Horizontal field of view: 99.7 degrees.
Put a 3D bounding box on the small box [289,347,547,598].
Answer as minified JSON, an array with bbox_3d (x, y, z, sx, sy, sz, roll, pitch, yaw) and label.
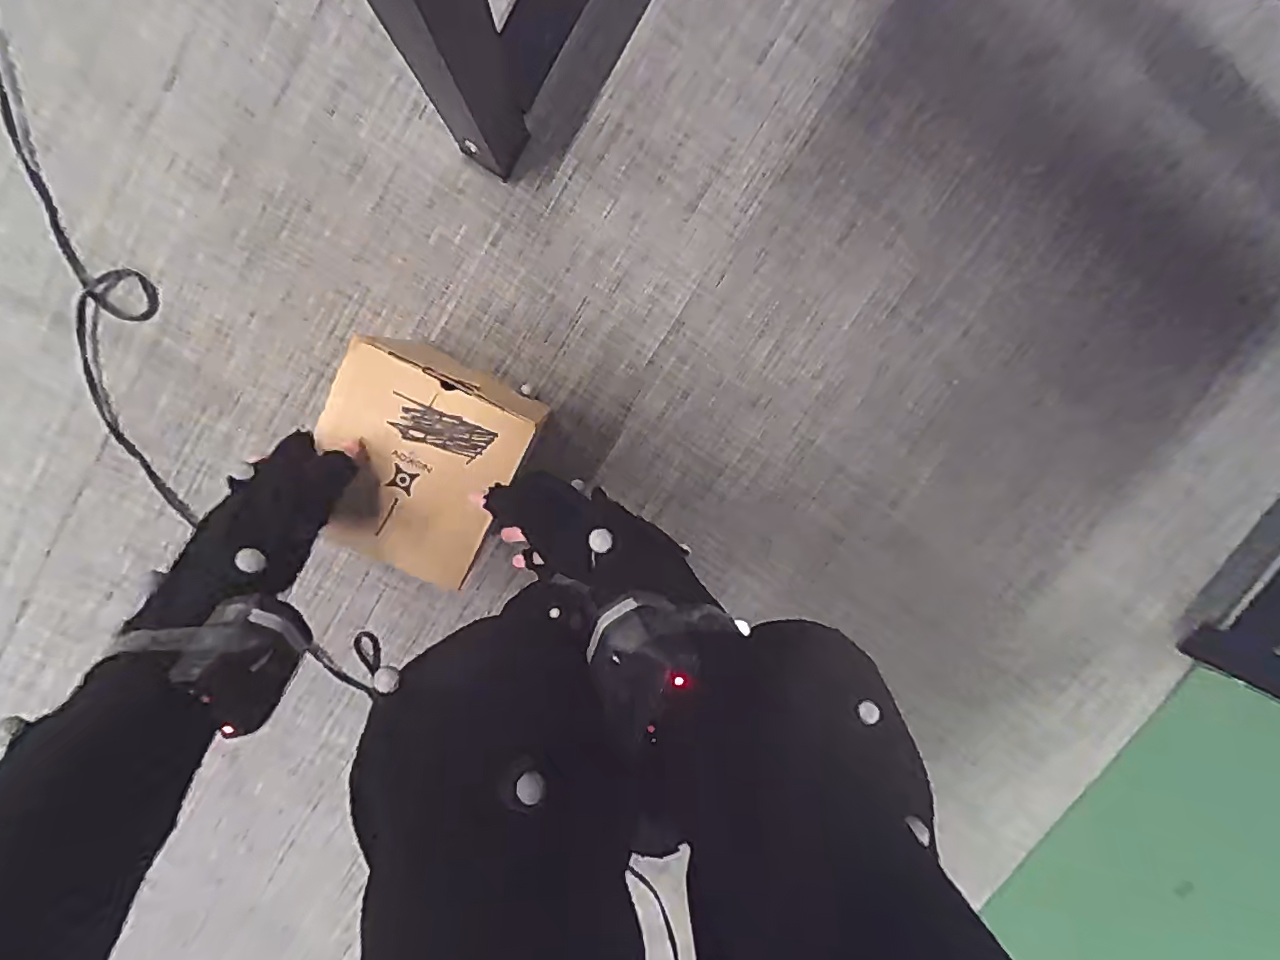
[{"bbox_3d":[-0.203,-0.018,0.547,0.168,0.176,0.179,26,99,-9],"label":"small box"}]
